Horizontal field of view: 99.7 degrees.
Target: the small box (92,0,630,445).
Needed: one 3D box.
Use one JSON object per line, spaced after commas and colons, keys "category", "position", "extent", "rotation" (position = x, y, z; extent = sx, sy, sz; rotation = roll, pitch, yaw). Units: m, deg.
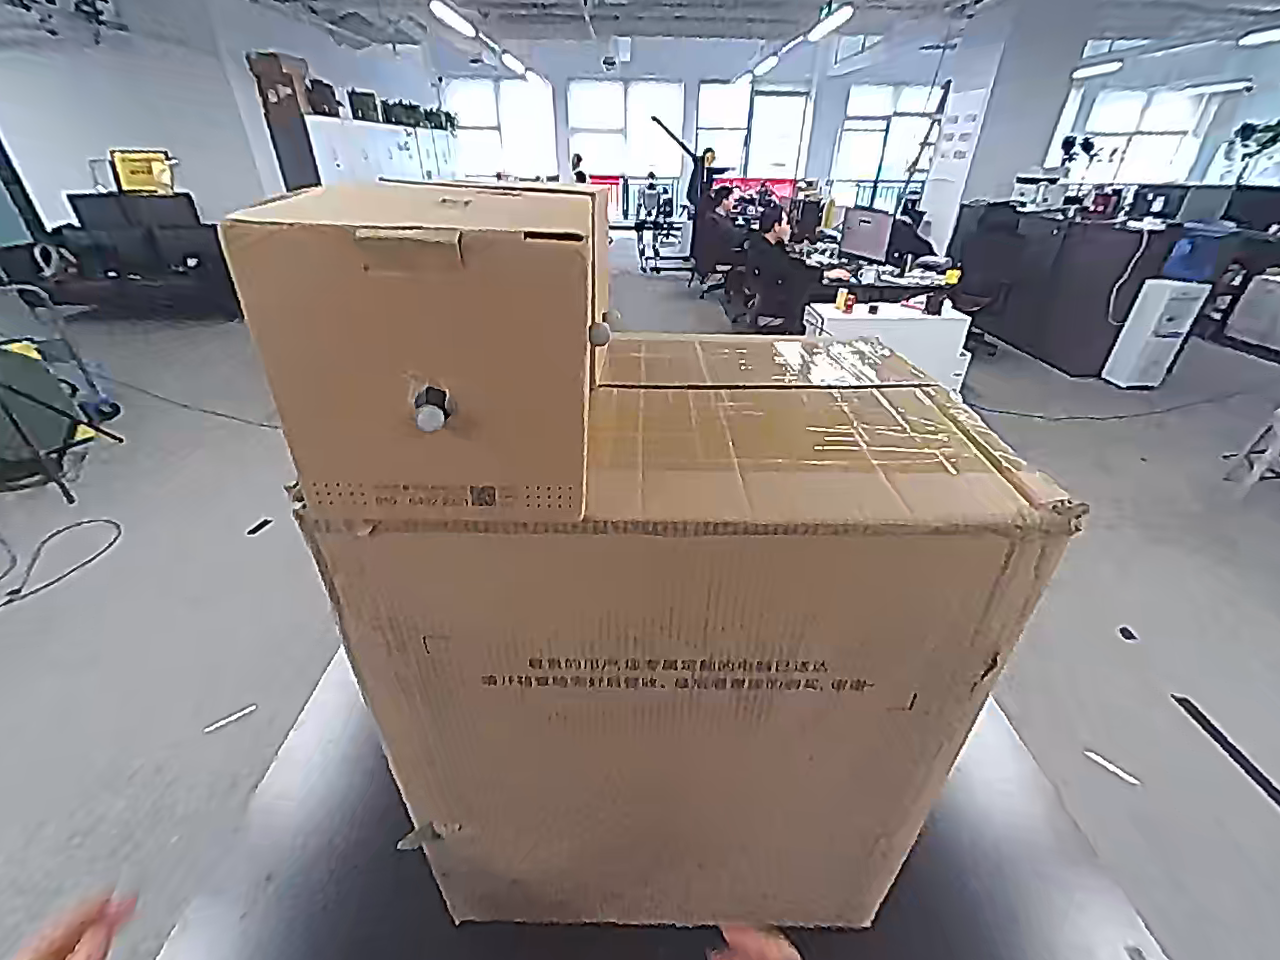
{"category": "small box", "position": [-0.093, -0.129, 0.279], "extent": [0.168, 0.176, 0.179], "rotation": [1, 34, -6]}
